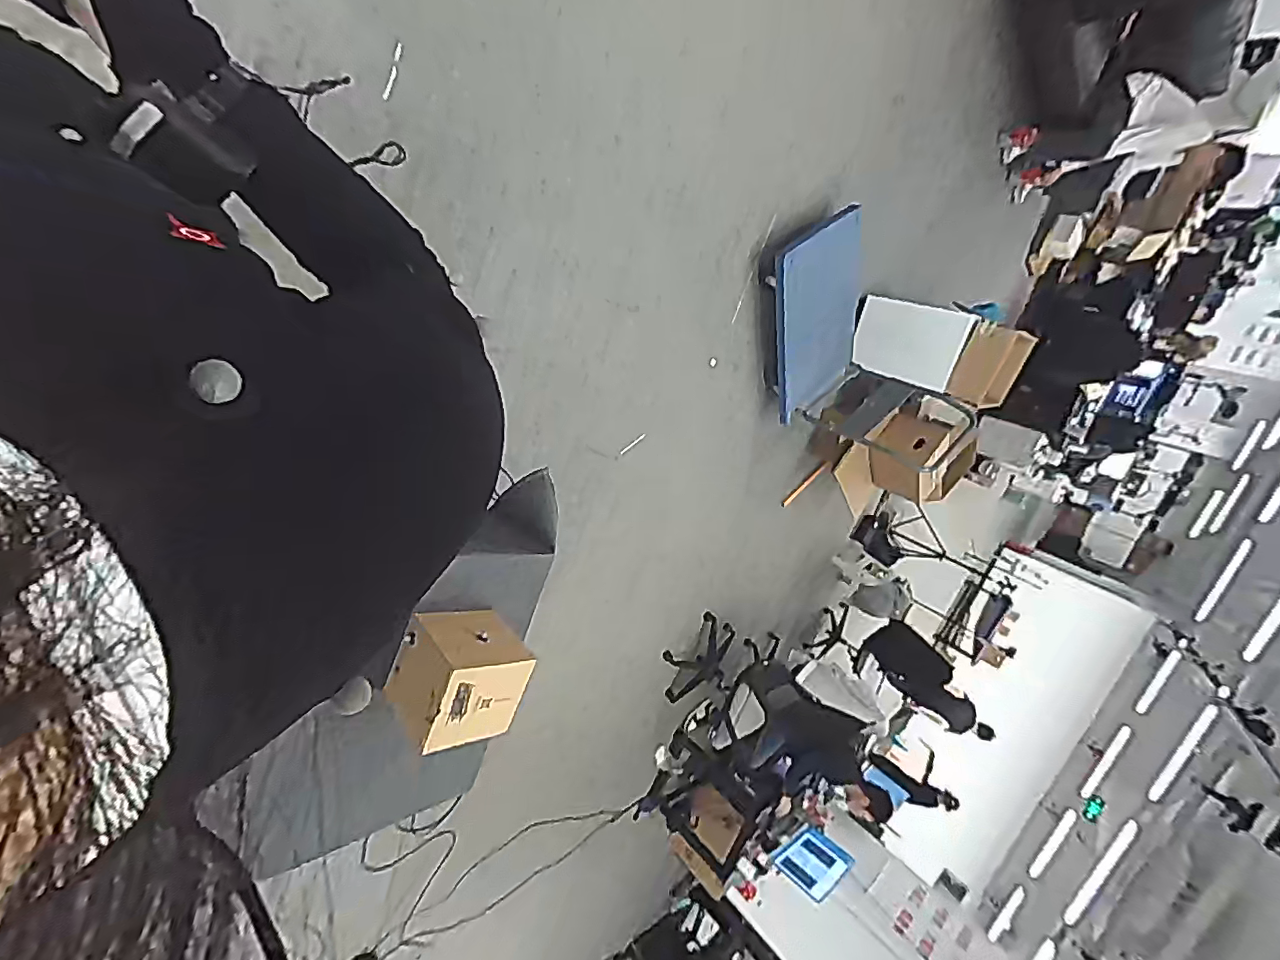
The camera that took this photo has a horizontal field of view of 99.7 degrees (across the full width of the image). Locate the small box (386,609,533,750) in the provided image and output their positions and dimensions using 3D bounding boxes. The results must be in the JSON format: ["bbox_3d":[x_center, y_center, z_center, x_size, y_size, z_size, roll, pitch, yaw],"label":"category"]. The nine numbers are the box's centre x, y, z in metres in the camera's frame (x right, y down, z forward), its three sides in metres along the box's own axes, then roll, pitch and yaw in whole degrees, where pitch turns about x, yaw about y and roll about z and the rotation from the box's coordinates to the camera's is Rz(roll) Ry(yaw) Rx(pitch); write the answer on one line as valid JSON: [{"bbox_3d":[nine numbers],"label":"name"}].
[{"bbox_3d":[-0.335,0.351,0.990,0.179,0.176,0.168,12,105,-50],"label":"small box"}]
